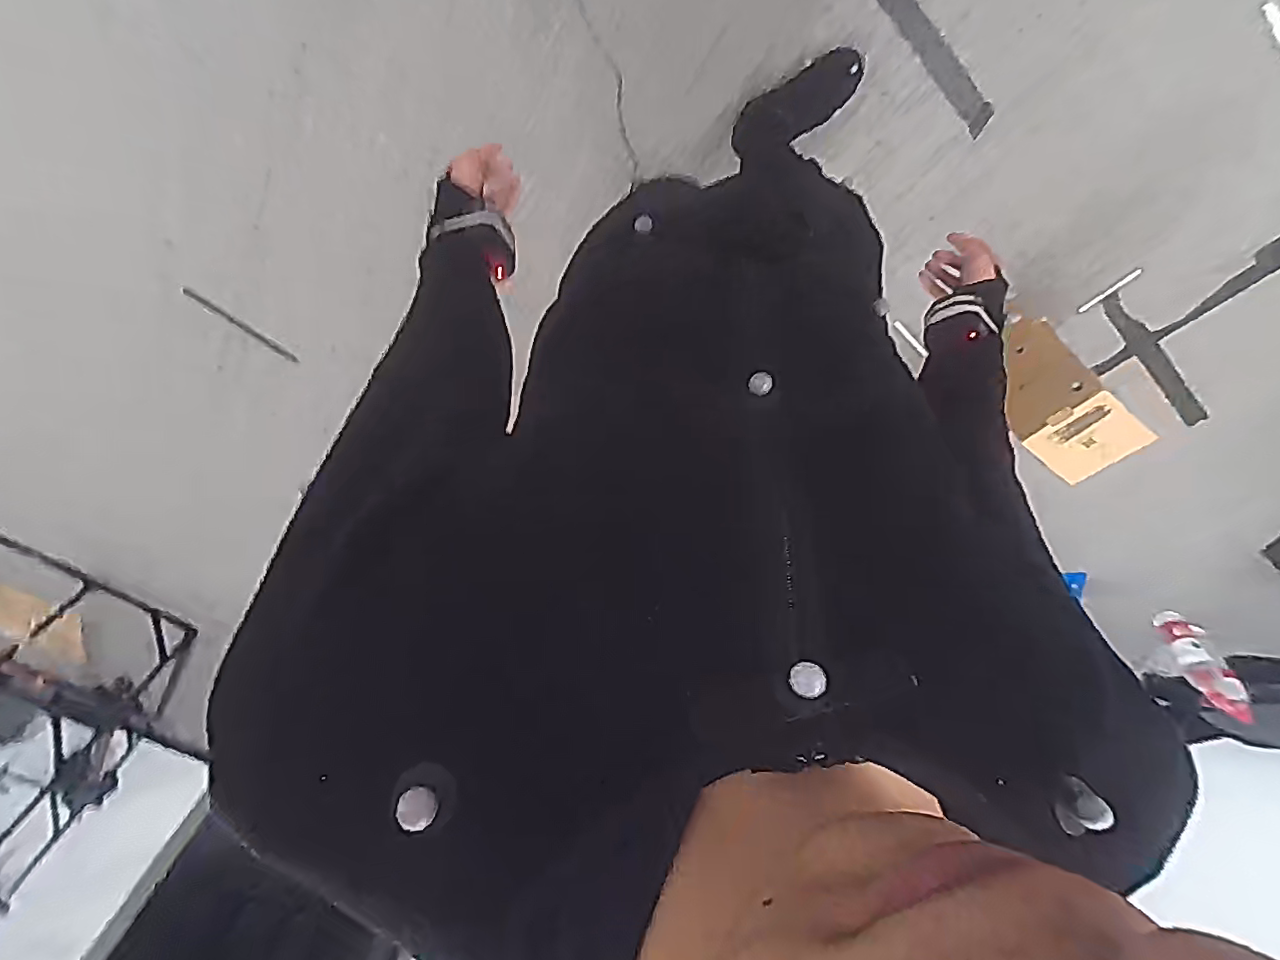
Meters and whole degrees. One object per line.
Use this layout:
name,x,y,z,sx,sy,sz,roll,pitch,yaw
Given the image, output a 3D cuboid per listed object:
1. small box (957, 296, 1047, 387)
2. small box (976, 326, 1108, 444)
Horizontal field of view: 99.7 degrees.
small box,0.947,-0.334,1.386,0.168,0.176,0.179,35,128,-16
small box,0.931,-0.225,1.265,0.179,0.176,0.168,39,128,-18
